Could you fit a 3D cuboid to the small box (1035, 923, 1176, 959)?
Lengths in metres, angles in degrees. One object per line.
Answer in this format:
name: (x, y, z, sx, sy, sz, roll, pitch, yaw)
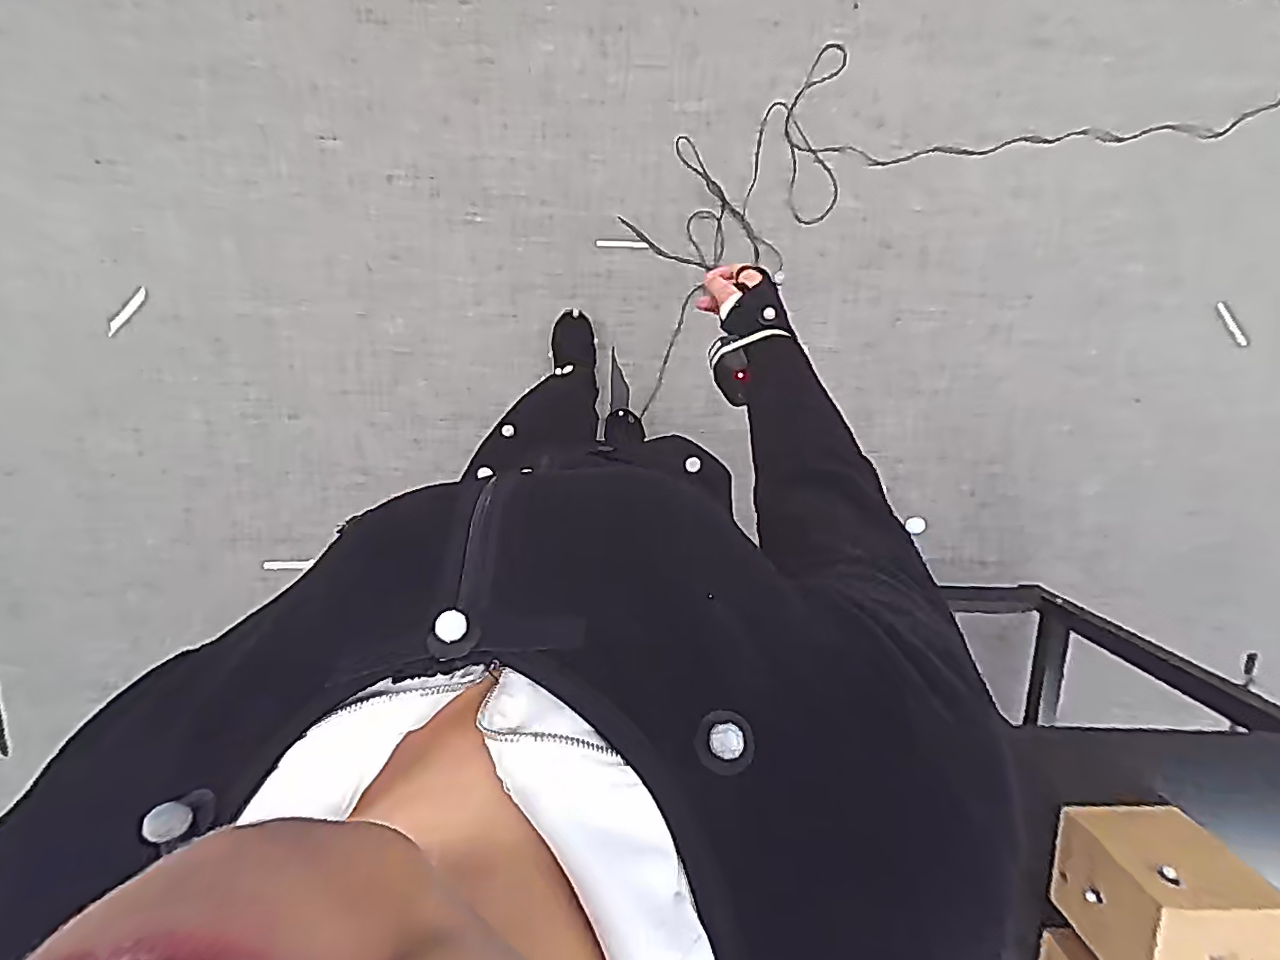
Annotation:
small box: (0.730, 0.805, 0.803, 0.179, 0.176, 0.168, 1, 99, 0)
